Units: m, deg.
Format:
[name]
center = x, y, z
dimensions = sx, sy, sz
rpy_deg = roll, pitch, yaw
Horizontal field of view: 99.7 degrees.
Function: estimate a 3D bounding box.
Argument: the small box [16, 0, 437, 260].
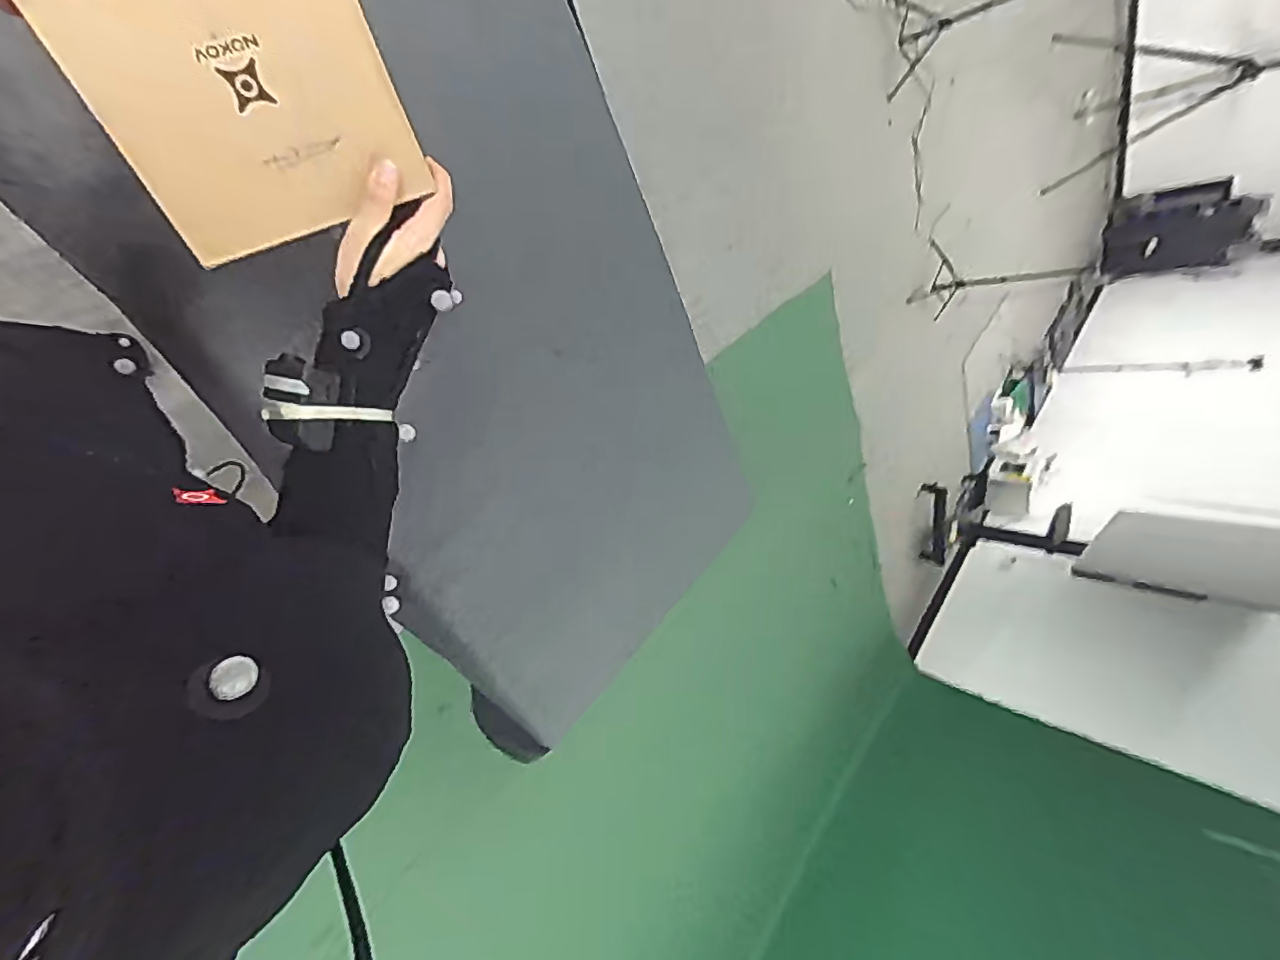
[small box]
center = -0.267, -0.283, 0.382
dimensions = 0.168, 0.176, 0.179
rpy_deg = -25, 129, -9
